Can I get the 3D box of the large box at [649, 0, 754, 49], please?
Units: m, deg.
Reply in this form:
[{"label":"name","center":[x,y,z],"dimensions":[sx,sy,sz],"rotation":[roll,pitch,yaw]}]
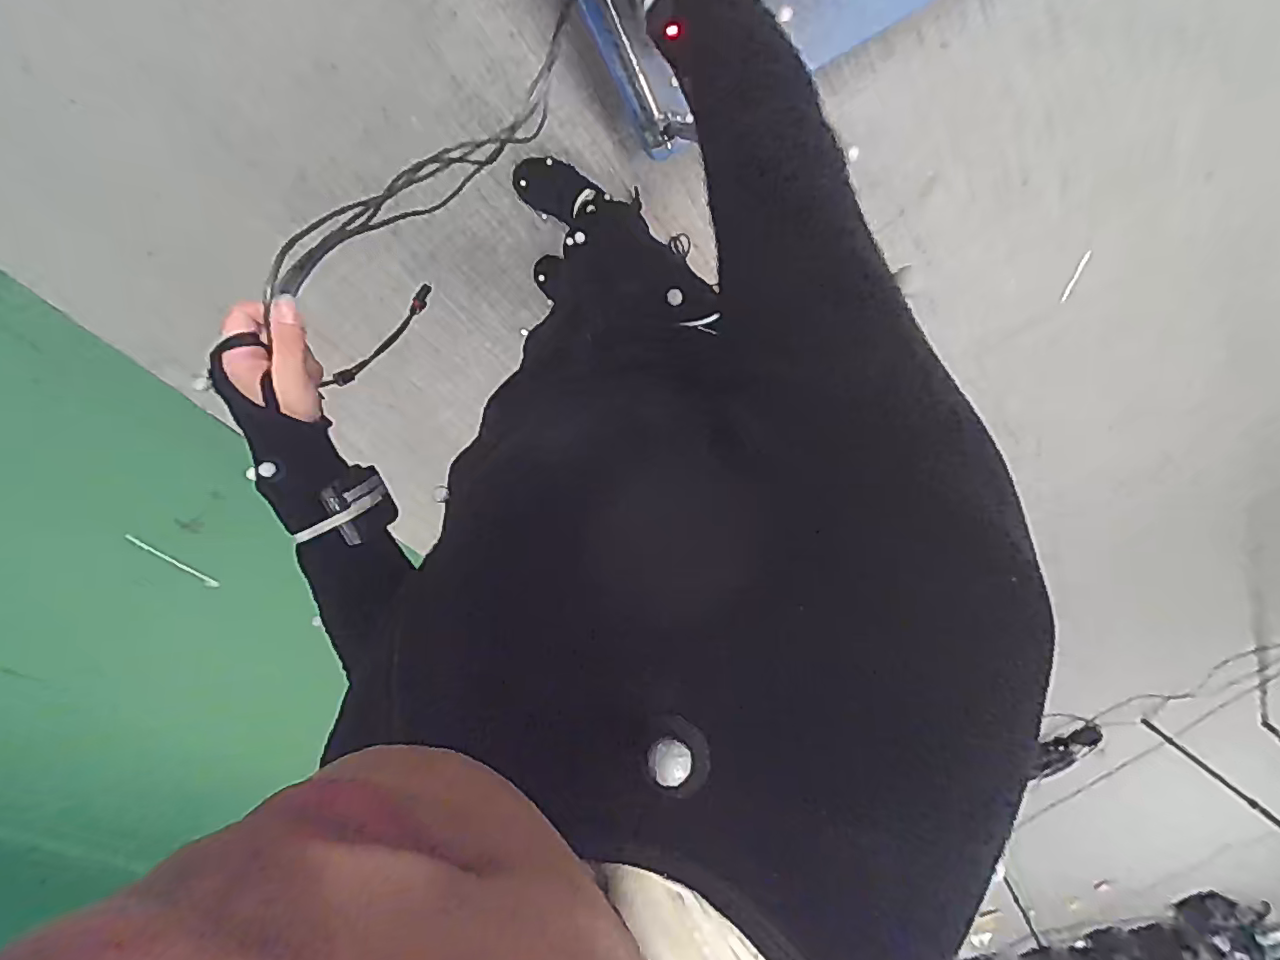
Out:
[{"label":"large box","center":[0.171,-0.927,0.795],"dimensions":[0.408,0.320,0.320],"rotation":[-24,124,11]}]
